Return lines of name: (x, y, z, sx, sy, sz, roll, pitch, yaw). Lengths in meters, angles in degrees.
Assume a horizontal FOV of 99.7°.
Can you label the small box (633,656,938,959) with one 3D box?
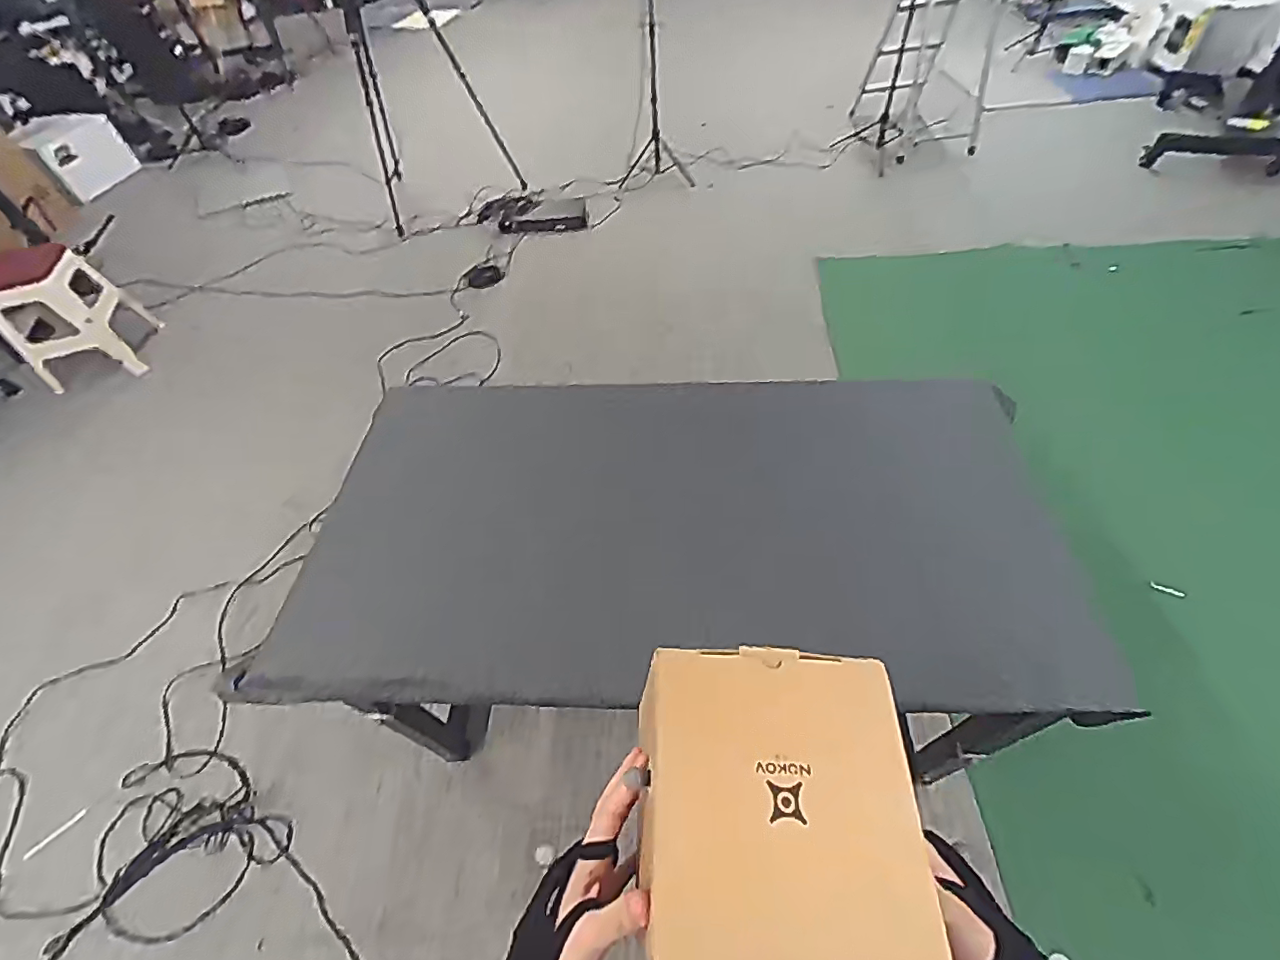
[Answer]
small box: (0.082, 0.248, 0.404, 0.168, 0.176, 0.179, 3, 53, -2)
